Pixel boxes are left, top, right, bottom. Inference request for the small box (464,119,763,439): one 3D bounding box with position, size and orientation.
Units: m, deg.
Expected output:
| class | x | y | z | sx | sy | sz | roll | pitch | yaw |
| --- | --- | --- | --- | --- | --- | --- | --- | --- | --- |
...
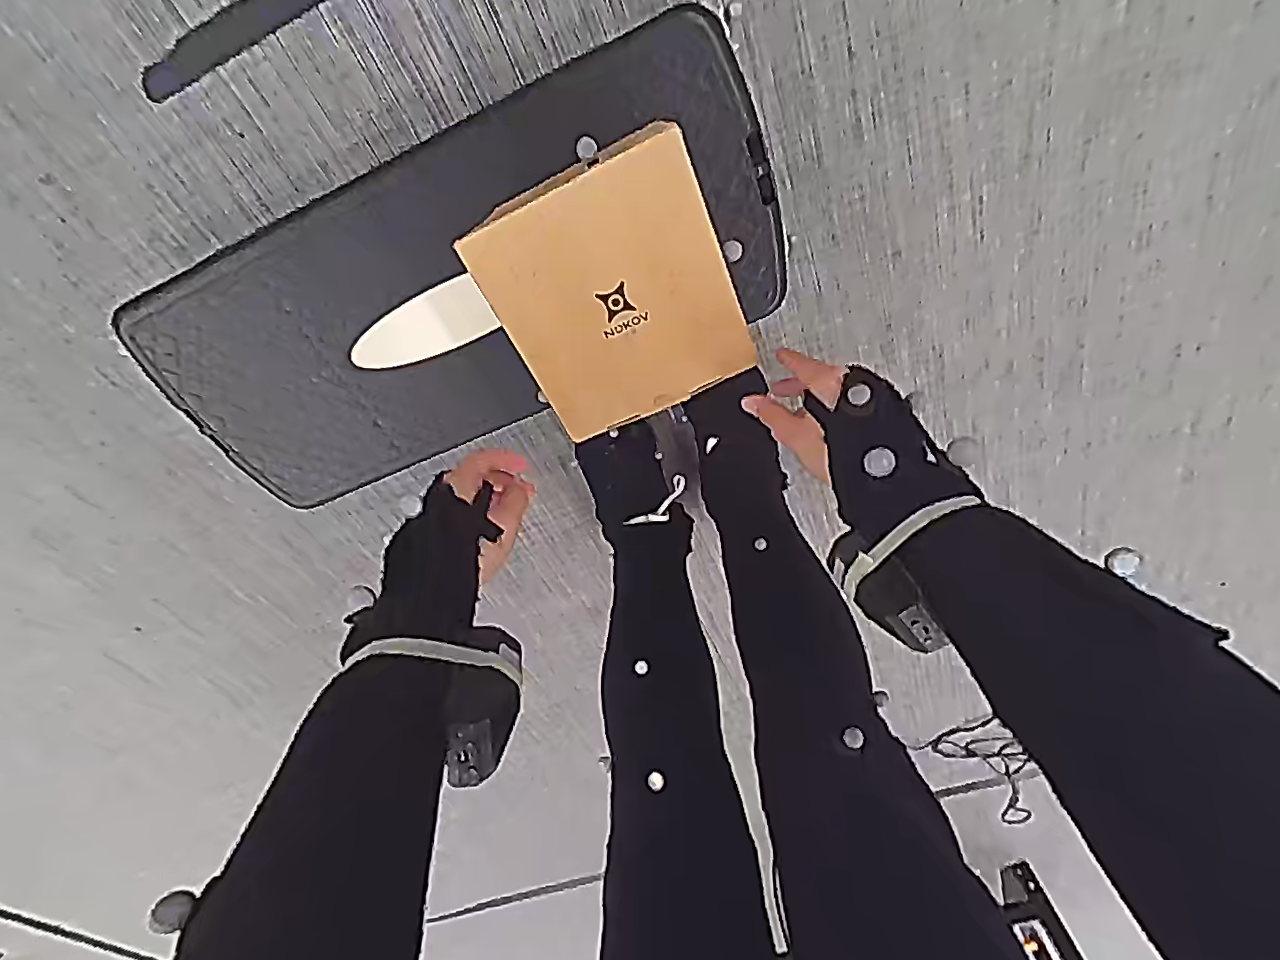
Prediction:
| class | x | y | z | sx | sy | sz | roll | pitch | yaw |
| --- | --- | --- | --- | --- | --- | --- | --- | --- | --- |
| small box | -0.018 | -0.171 | 0.454 | 0.168 | 0.176 | 0.179 | -22 | 124 | 10 |
